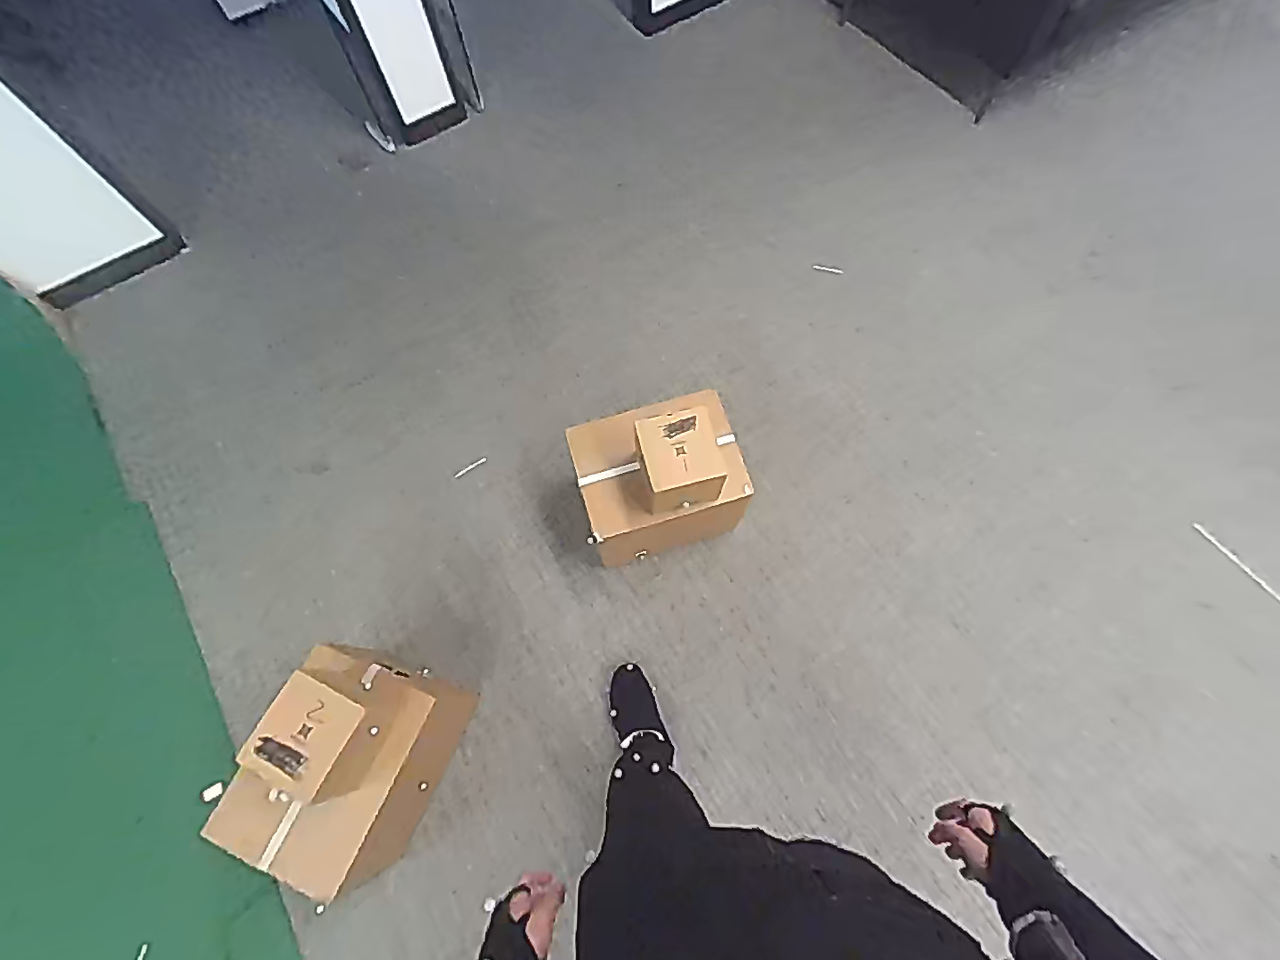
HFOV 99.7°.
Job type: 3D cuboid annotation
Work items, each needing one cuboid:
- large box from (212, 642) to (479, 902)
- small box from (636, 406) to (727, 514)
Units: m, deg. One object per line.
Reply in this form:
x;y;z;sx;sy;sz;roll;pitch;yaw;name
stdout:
-0.637;0.626;1.251;0.320;0.320;0.408;21;74;10;large box
0.087;-0.041;1.237;0.168;0.176;0.179;-14;70;-4;small box
